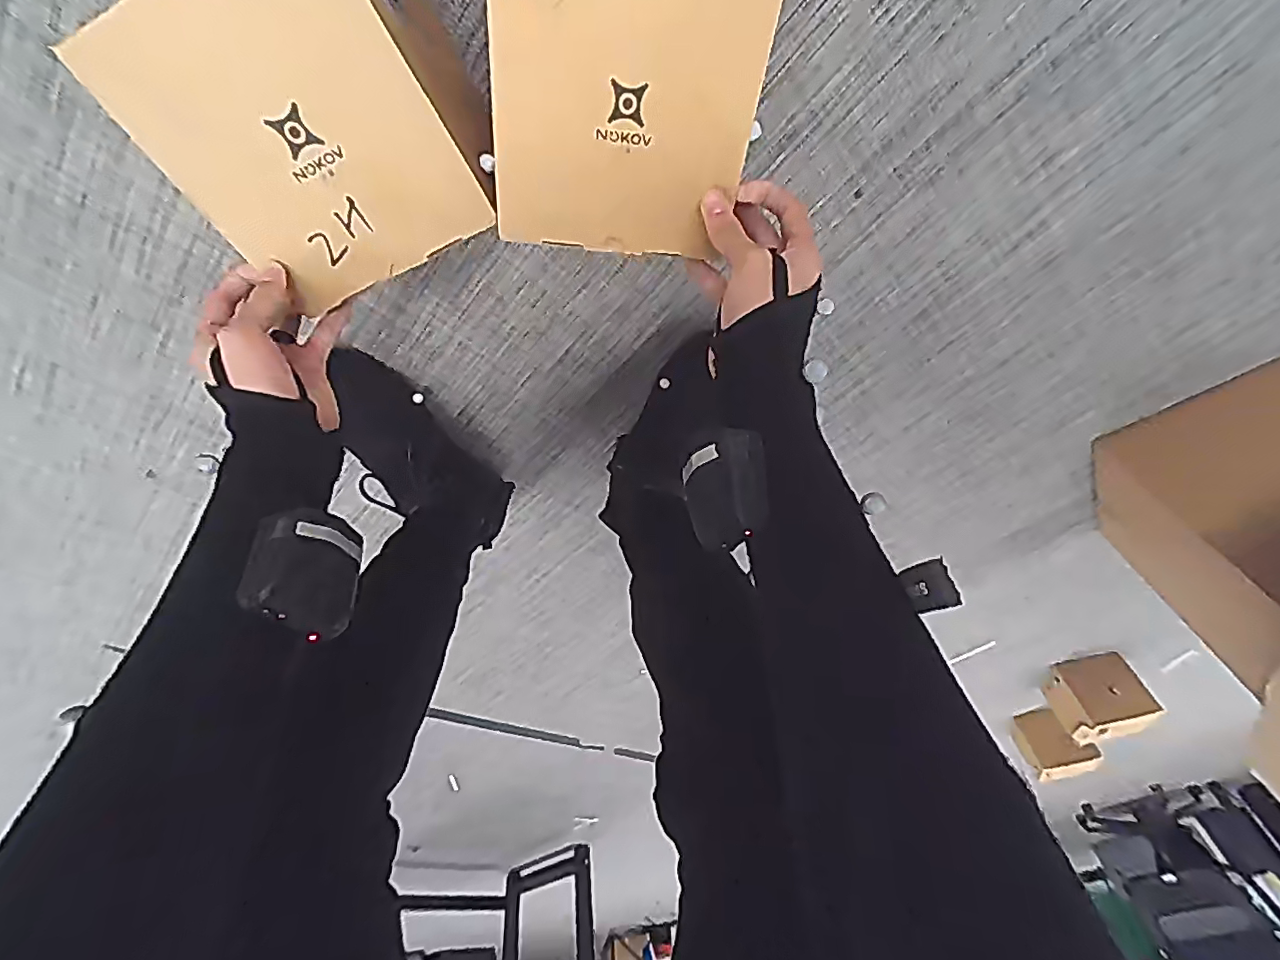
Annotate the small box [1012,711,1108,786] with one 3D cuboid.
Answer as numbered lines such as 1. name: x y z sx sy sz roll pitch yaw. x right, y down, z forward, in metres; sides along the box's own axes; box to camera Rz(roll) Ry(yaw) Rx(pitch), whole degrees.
1. small box: 1.369 0.877 1.774 0.179 0.176 0.168 -21 133 10

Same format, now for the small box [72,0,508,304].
1. small box: -0.212 -0.268 0.390 0.168 0.176 0.179 -21 135 11

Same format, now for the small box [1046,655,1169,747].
1. small box: 1.276 0.610 1.497 0.179 0.176 0.168 -16 135 6
